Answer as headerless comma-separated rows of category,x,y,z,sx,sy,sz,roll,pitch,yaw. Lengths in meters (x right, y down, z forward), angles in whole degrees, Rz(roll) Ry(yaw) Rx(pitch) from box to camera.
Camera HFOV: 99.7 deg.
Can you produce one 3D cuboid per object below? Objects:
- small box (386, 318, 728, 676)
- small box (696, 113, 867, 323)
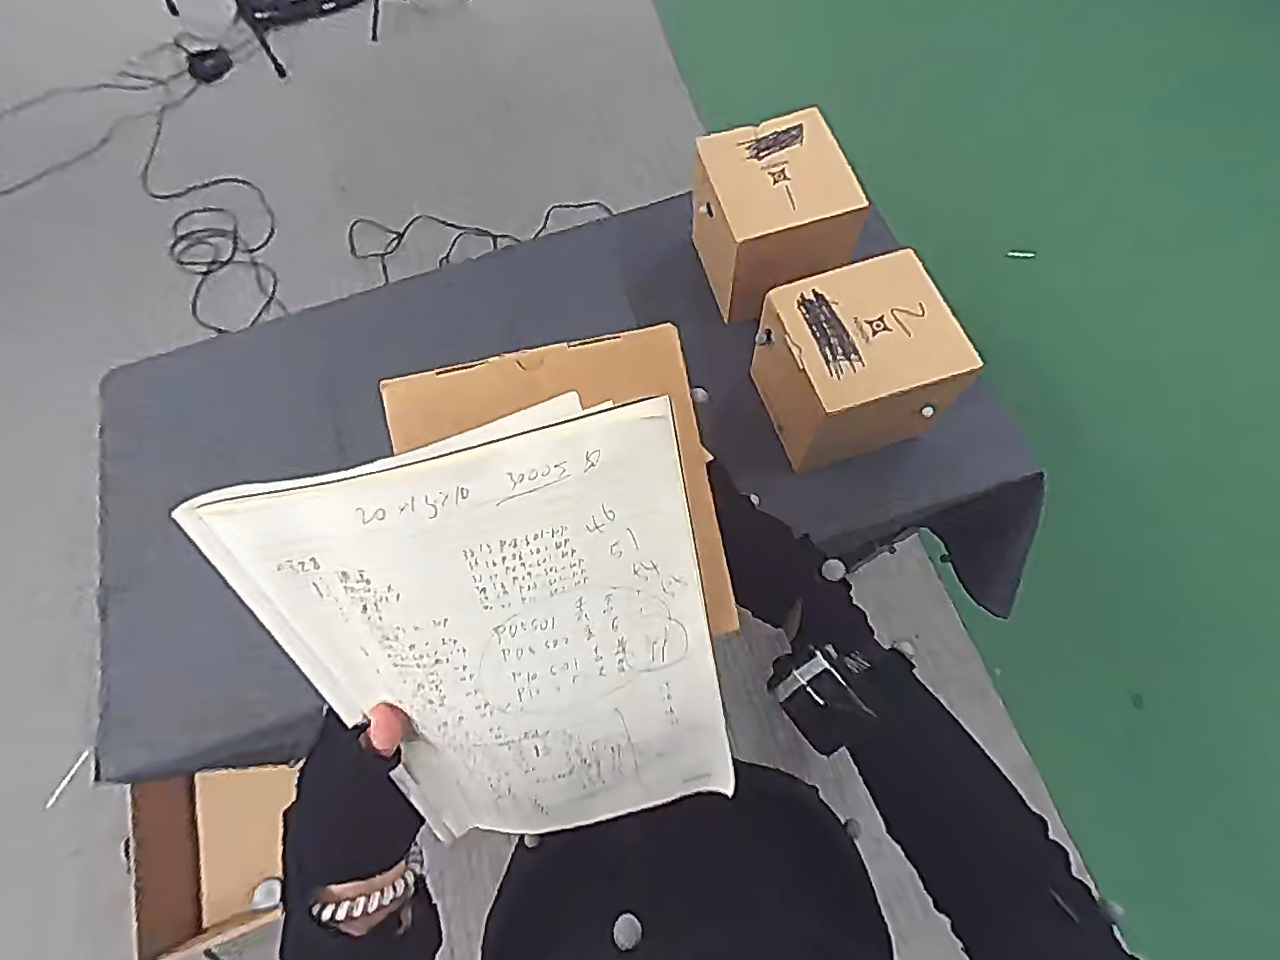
small box,-0.048,0.010,0.381,0.168,0.176,0.179,-12,88,-3
small box,0.177,-0.349,0.741,0.168,0.176,0.179,-15,70,0
